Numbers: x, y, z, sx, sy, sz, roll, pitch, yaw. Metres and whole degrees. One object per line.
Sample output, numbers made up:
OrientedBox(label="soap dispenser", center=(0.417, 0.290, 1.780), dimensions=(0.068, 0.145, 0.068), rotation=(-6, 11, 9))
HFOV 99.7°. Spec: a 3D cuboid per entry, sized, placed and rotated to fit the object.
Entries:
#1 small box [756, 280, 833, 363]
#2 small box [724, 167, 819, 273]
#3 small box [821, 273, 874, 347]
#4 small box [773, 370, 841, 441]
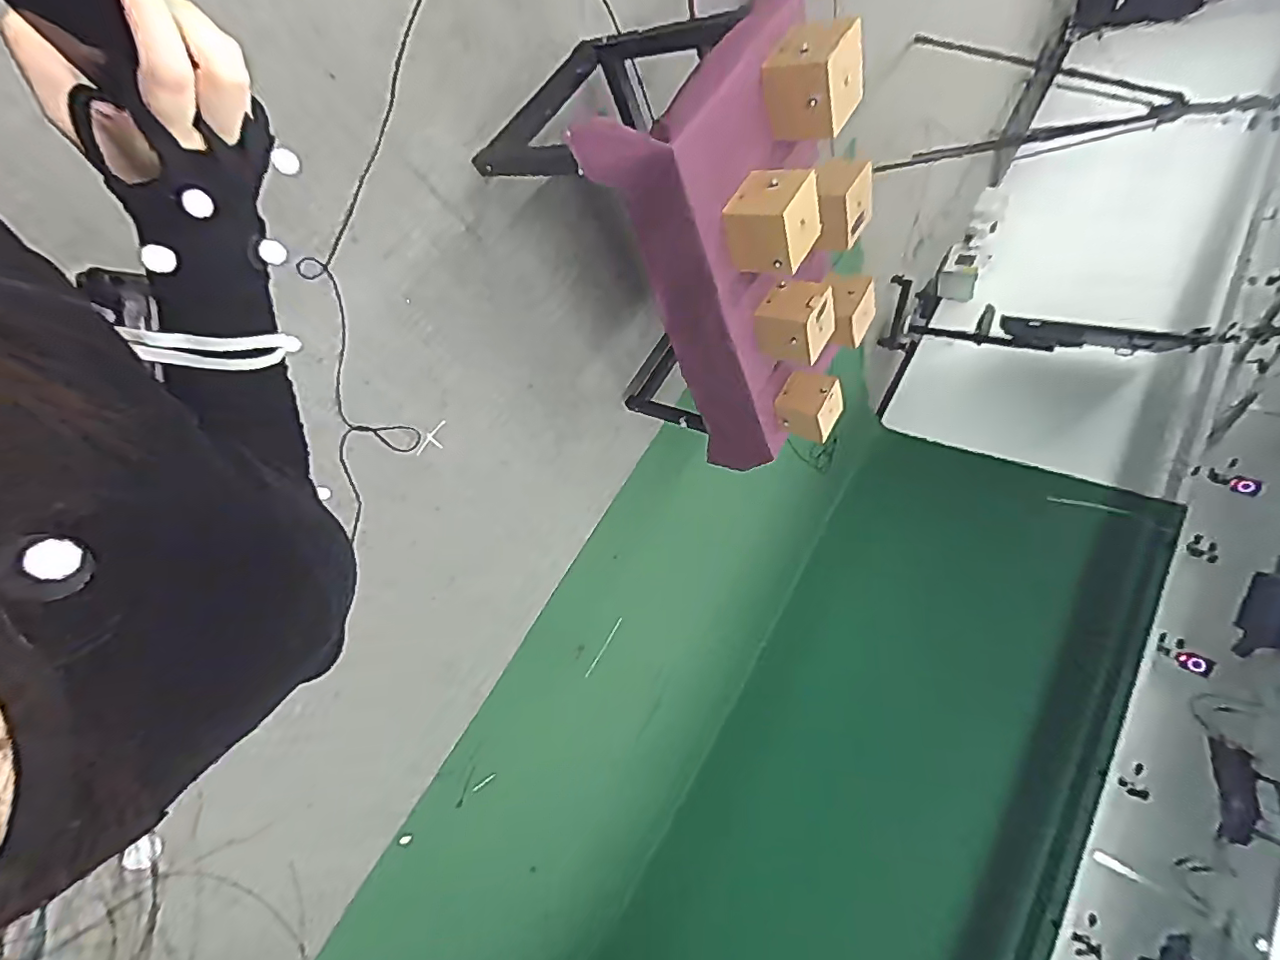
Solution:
OrientedBox(label="small box", center=(0.465, -0.483, 1.630), dimensions=(0.168, 0.176, 0.179), rotation=(-55, 145, -18))
OrientedBox(label="small box", center=(0.328, -0.647, 1.349), dimensions=(0.168, 0.176, 0.179), rotation=(-56, 146, -17))
OrientedBox(label="small box", center=(0.699, -0.598, 1.886), dimensions=(0.179, 0.176, 0.168), rotation=(-58, 144, -13))
OrientedBox(label="small box", center=(0.597, -0.271, 1.930), dimensions=(0.168, 0.176, 0.179), rotation=(-58, 145, -15))
